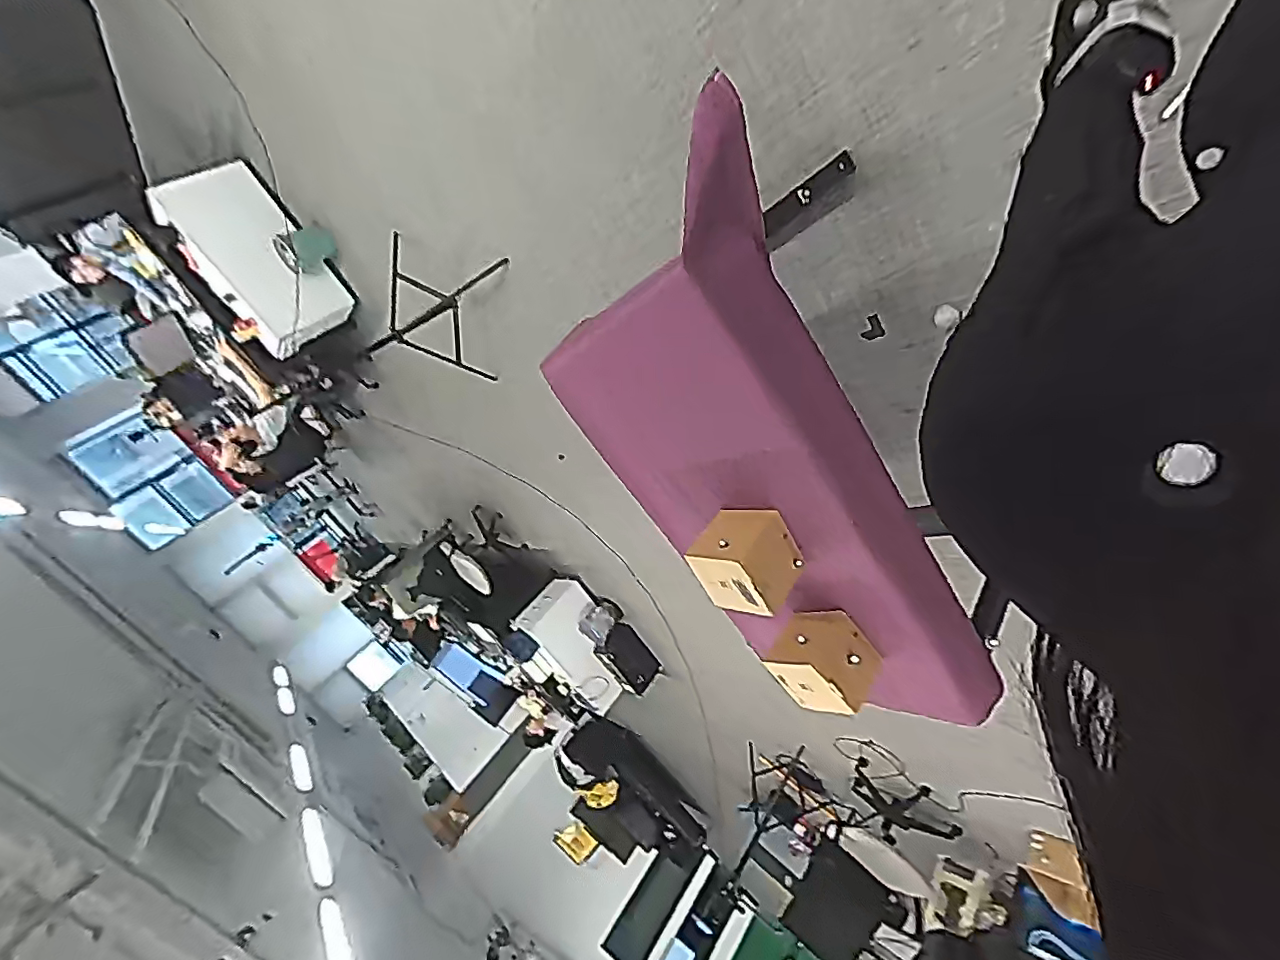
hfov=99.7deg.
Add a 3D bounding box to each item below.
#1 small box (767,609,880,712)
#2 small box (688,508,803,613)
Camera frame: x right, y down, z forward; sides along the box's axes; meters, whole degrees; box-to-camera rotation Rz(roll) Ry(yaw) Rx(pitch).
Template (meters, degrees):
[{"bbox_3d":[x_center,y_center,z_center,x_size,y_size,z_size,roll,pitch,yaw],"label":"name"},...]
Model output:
[{"bbox_3d":[0.450,0.429,1.303,0.168,0.176,0.179,49,149,-7],"label":"small box"},{"bbox_3d":[0.249,0.176,1.237,0.179,0.176,0.168,-3,125,53],"label":"small box"}]
